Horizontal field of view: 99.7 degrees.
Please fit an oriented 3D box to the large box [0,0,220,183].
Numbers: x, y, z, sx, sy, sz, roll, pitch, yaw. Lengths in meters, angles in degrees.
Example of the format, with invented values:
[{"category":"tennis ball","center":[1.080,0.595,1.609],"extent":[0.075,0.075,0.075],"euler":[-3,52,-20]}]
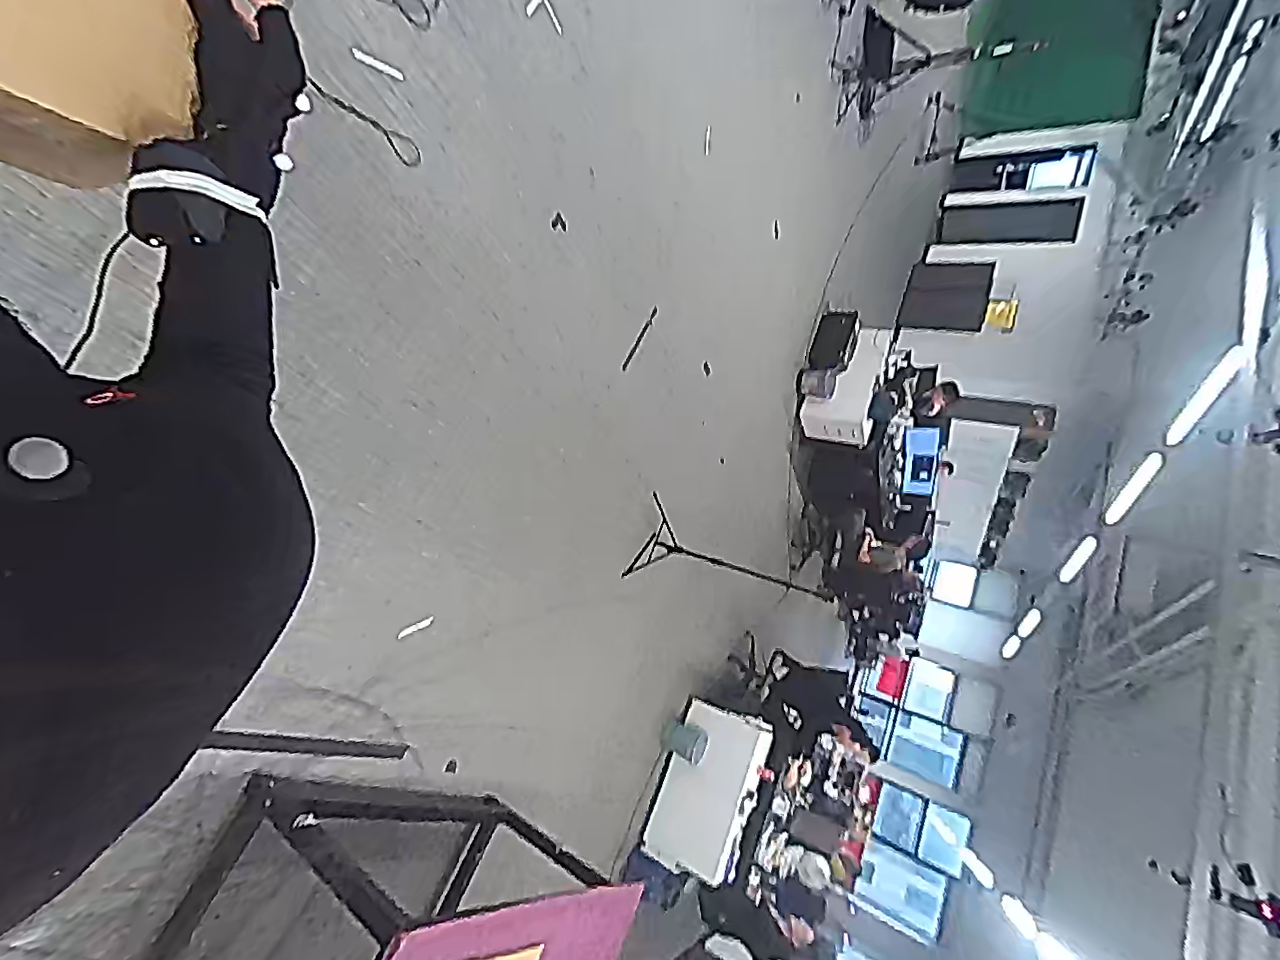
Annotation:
[{"category":"large box","center":[-0.554,-0.443,0.334],"extent":[0.408,0.320,0.320],"euler":[7,99,-58]}]
